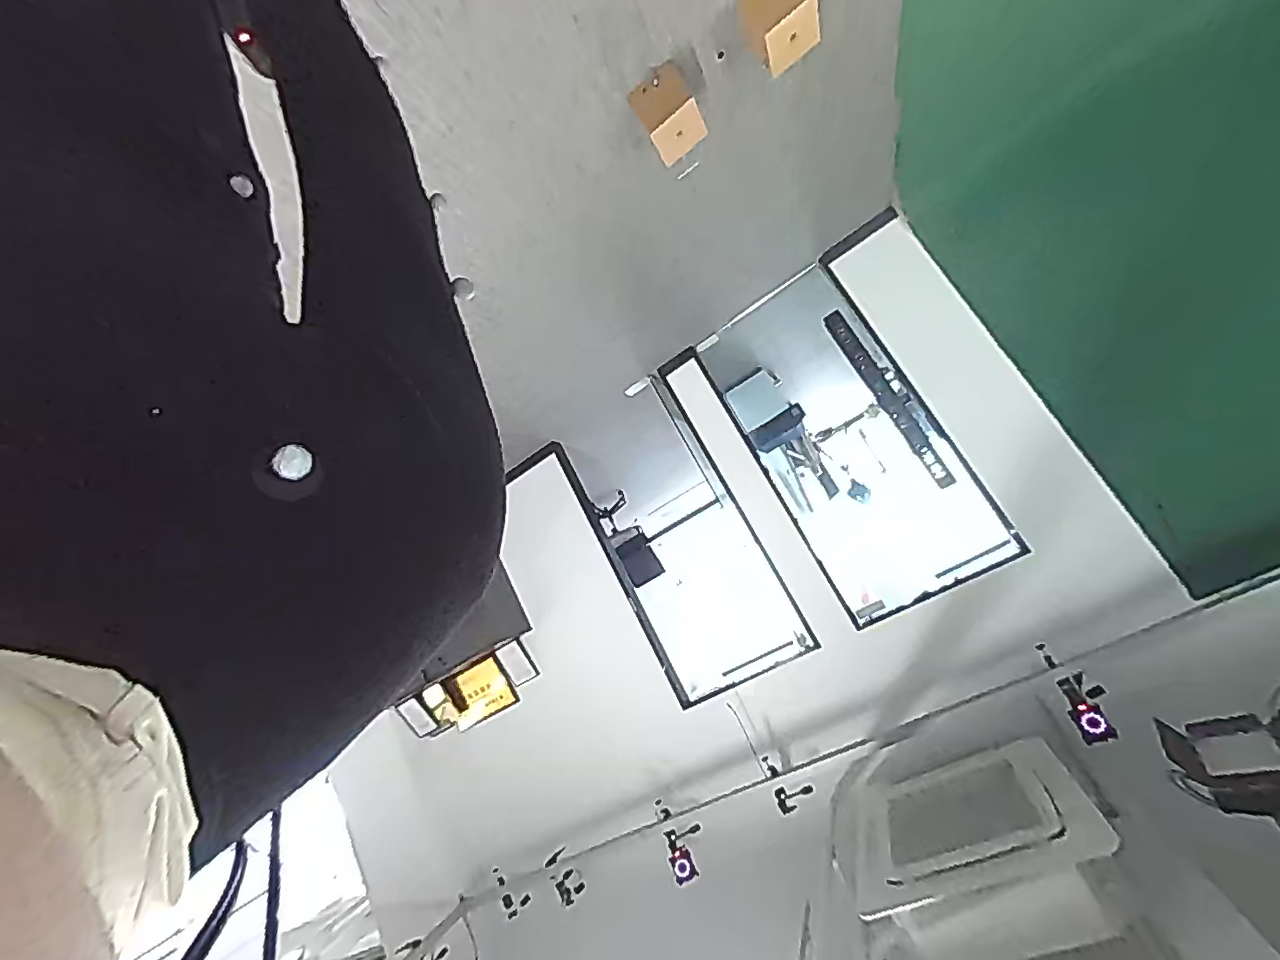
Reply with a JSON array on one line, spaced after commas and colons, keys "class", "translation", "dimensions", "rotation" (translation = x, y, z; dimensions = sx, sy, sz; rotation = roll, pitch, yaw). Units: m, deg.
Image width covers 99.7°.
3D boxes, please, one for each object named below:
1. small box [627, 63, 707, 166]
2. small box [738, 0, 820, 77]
[{"class": "small box", "translation": [0.087, -1.156, 1.714], "dimensions": [0.168, 0.176, 0.179], "rotation": [-33, 166, 17]}, {"class": "small box", "translation": [0.408, -1.362, 1.593], "dimensions": [0.168, 0.176, 0.179], "rotation": [-33, 167, 17]}]
